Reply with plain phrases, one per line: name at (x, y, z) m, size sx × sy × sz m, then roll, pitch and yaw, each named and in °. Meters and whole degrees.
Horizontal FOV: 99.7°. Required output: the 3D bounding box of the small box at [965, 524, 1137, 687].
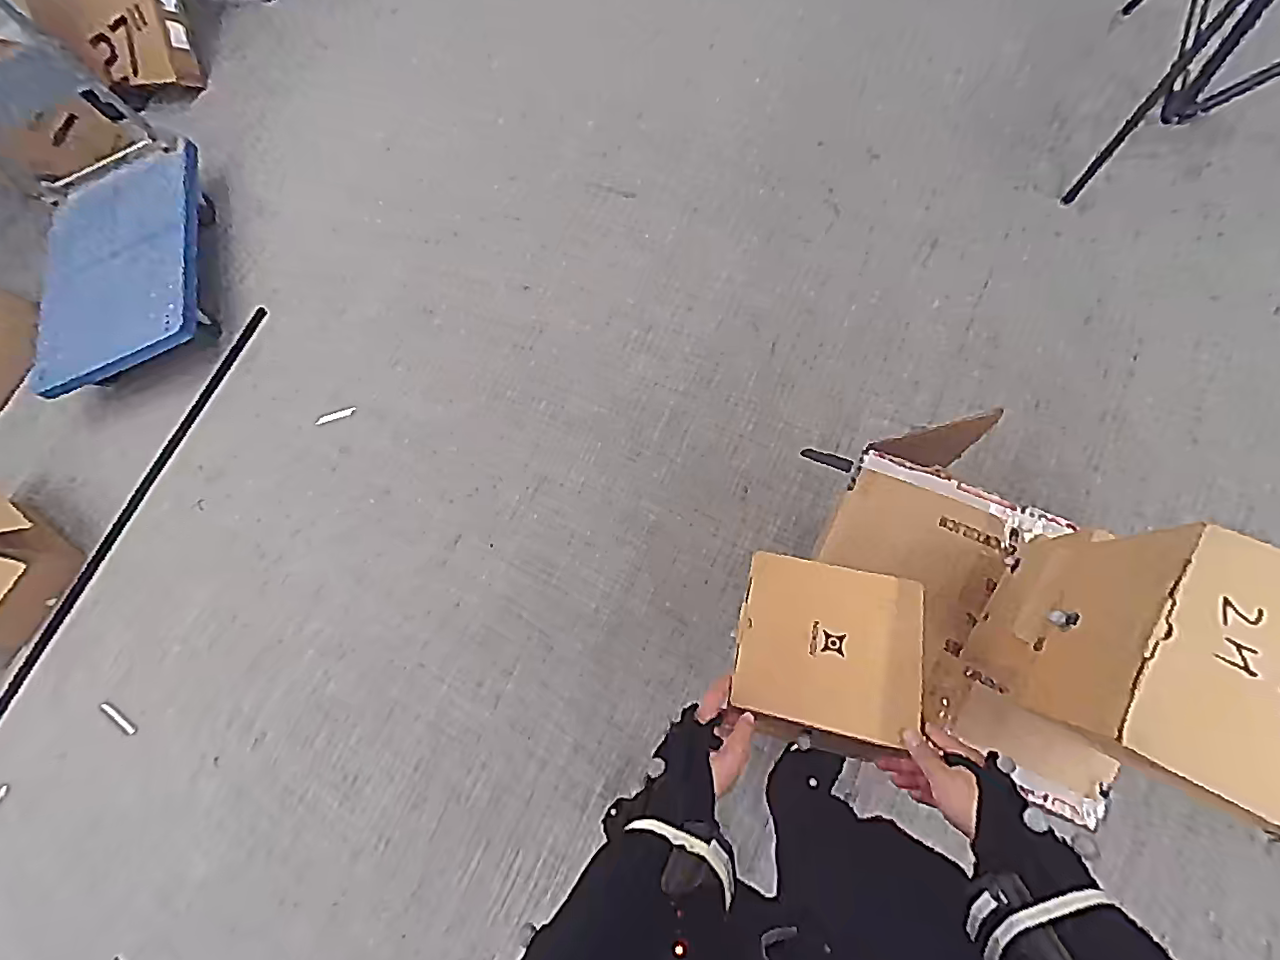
small box at (0.484, 0.170, 0.568) m, size 0.179 × 0.176 × 0.168 m, roll 30°, pitch 85°, yaw 17°

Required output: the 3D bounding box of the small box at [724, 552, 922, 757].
small box at (0.195, 0.200, 0.606) m, size 0.179 × 0.176 × 0.168 m, roll 9°, pitch 62°, yaw 14°

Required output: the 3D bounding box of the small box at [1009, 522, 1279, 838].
small box at (0.433, 0.151, 0.410) m, size 0.179 × 0.176 × 0.168 m, roll 27°, pitch 83°, yaw 17°
